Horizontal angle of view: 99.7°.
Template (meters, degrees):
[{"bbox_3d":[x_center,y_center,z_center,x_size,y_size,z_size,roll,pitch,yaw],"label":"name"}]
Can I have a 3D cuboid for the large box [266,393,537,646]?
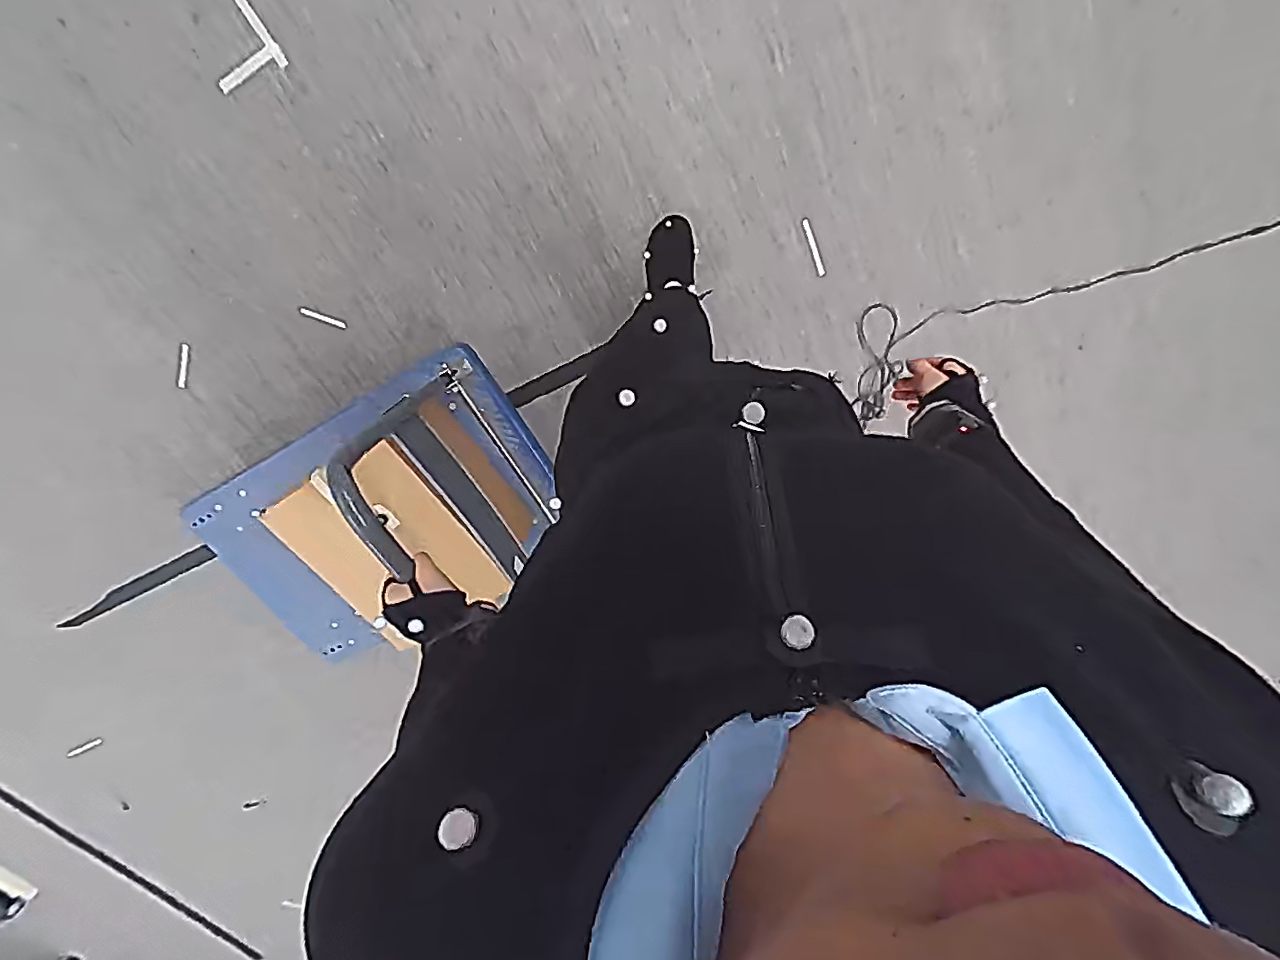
[{"bbox_3d":[-0.490,0.079,1.213,0.320,0.320,0.408,-31,110,10],"label":"large box"}]
